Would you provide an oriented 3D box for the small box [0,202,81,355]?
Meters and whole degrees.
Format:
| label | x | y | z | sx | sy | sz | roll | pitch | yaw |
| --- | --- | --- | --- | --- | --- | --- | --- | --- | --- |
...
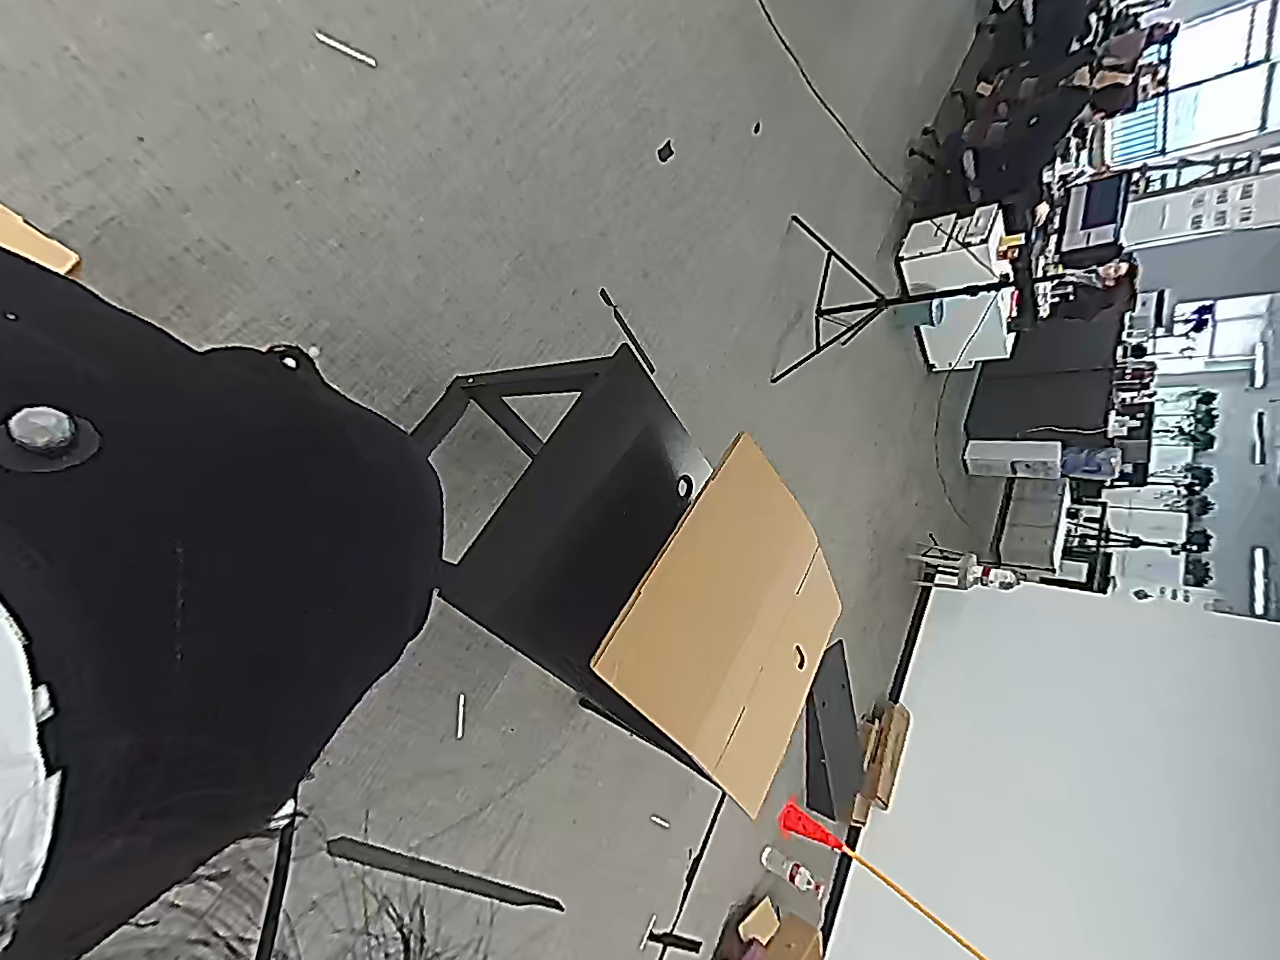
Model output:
| label | x | y | z | sx | sy | sz | roll | pitch | yaw |
| --- | --- | --- | --- | --- | --- | --- | --- | --- | --- |
| small box | -0.883 | -0.274 | 0.694 | 0.168 | 0.176 | 0.179 | 42 | 63 | -39 |
